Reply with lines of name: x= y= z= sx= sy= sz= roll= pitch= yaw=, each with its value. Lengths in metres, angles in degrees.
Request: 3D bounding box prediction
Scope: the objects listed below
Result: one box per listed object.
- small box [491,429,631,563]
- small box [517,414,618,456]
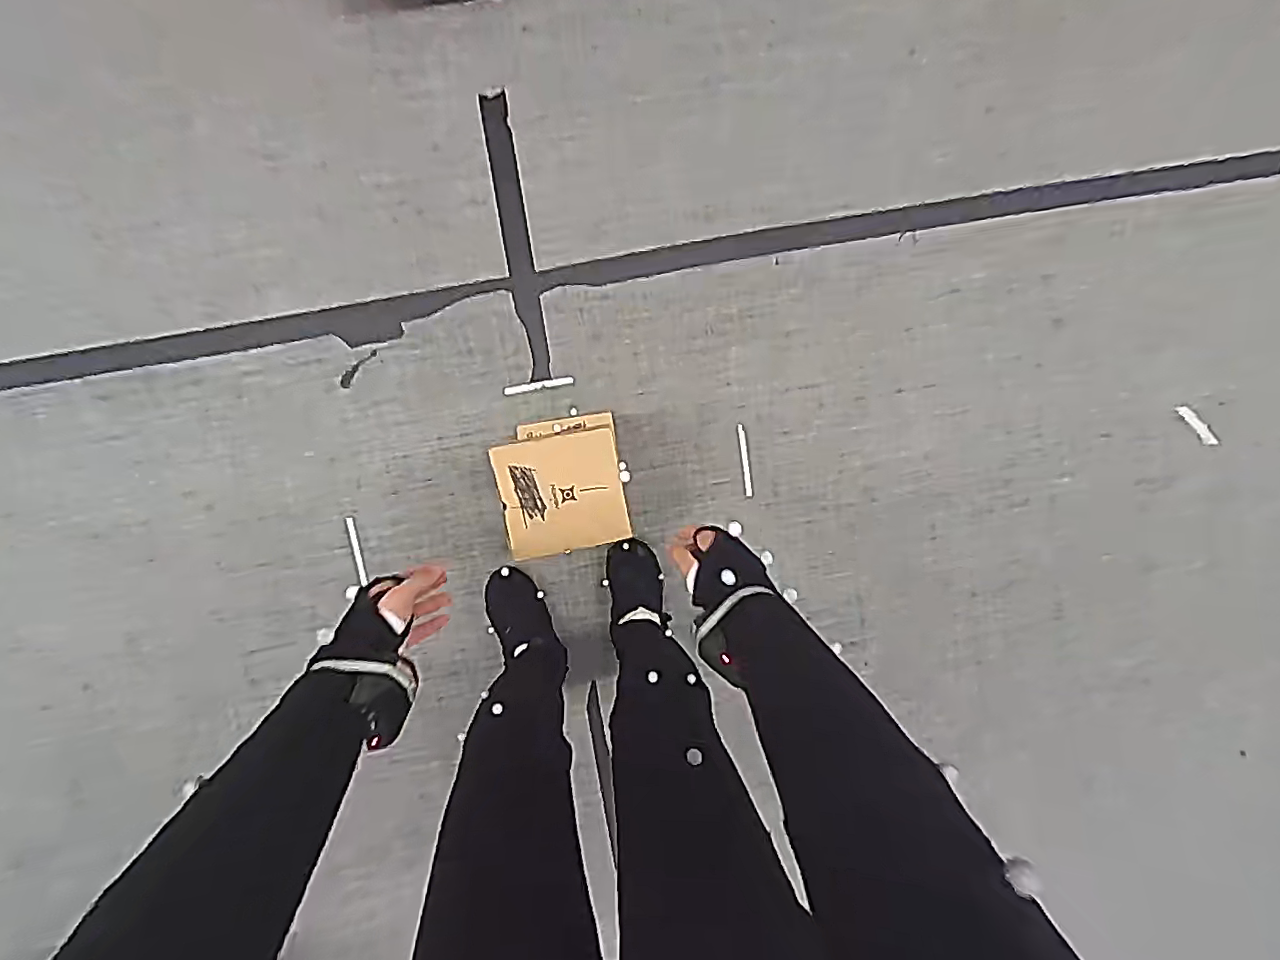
small box: x=-0.115 y=0.015 z=0.841 sx=0.179 sy=0.176 sz=0.168 roll=-11 pitch=99 yaw=-4
small box: x=-0.122 y=-0.024 z=1.003 sx=0.168 sy=0.176 sz=0.179 roll=-9 pitch=99 yaw=-4
